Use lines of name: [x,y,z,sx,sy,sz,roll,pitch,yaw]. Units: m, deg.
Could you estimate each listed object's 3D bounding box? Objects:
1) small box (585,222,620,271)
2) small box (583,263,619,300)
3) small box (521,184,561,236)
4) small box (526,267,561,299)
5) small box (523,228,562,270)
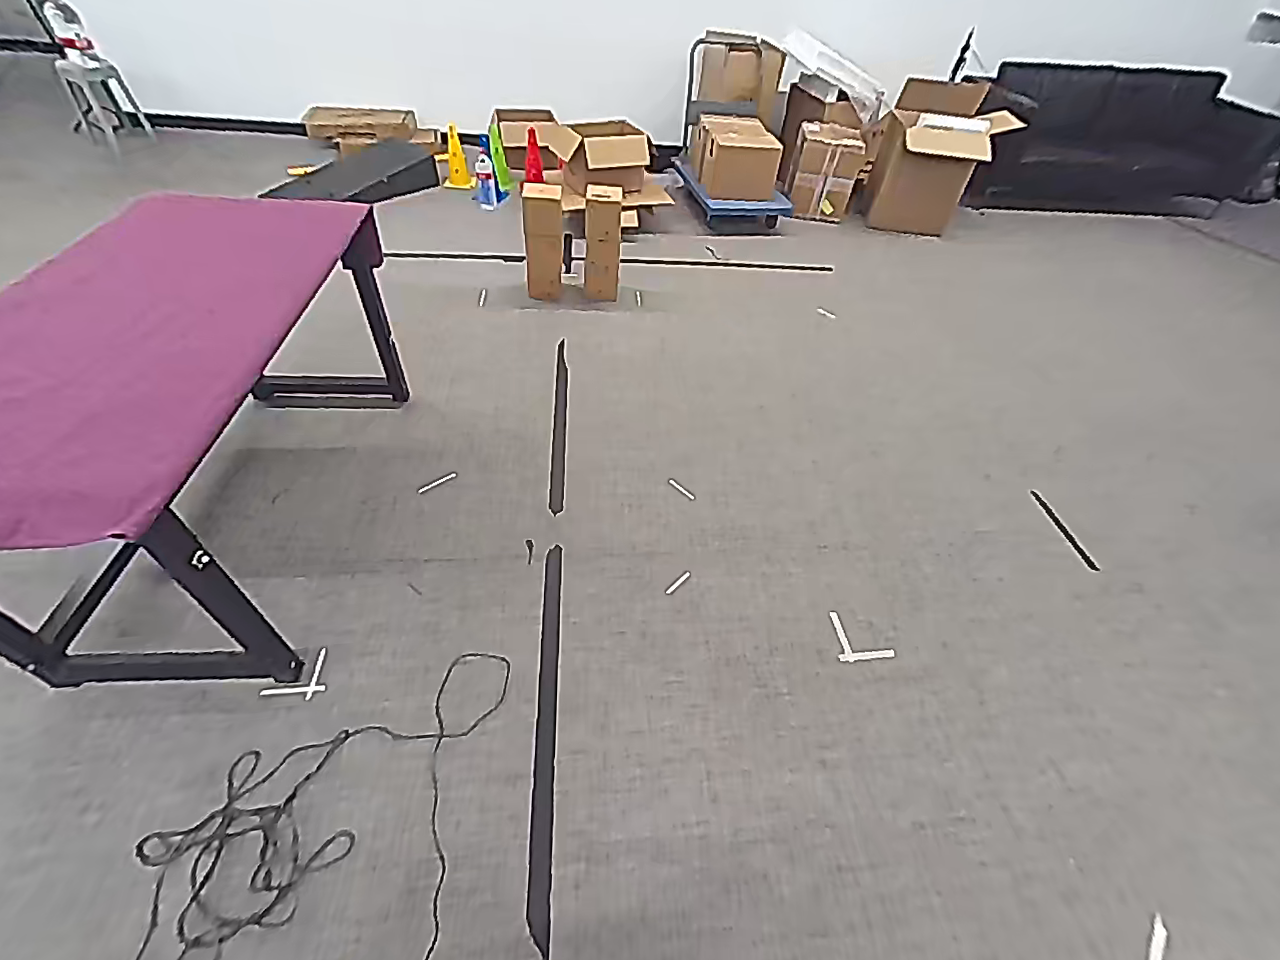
small box: [-0.186,-1.159,2.686,0.168,0.176,0.179,2,47,-5]
small box: [-0.203,-1.053,2.811,0.179,0.176,0.168,4,48,-4]
small box: [-0.460,-1.258,2.524,0.179,0.176,0.168,1,48,-8]
small box: [-0.492,-1.042,2.768,0.168,0.176,0.179,0,47,-8]
small box: [-0.473,-1.146,2.644,0.179,0.176,0.168,1,48,-8]
